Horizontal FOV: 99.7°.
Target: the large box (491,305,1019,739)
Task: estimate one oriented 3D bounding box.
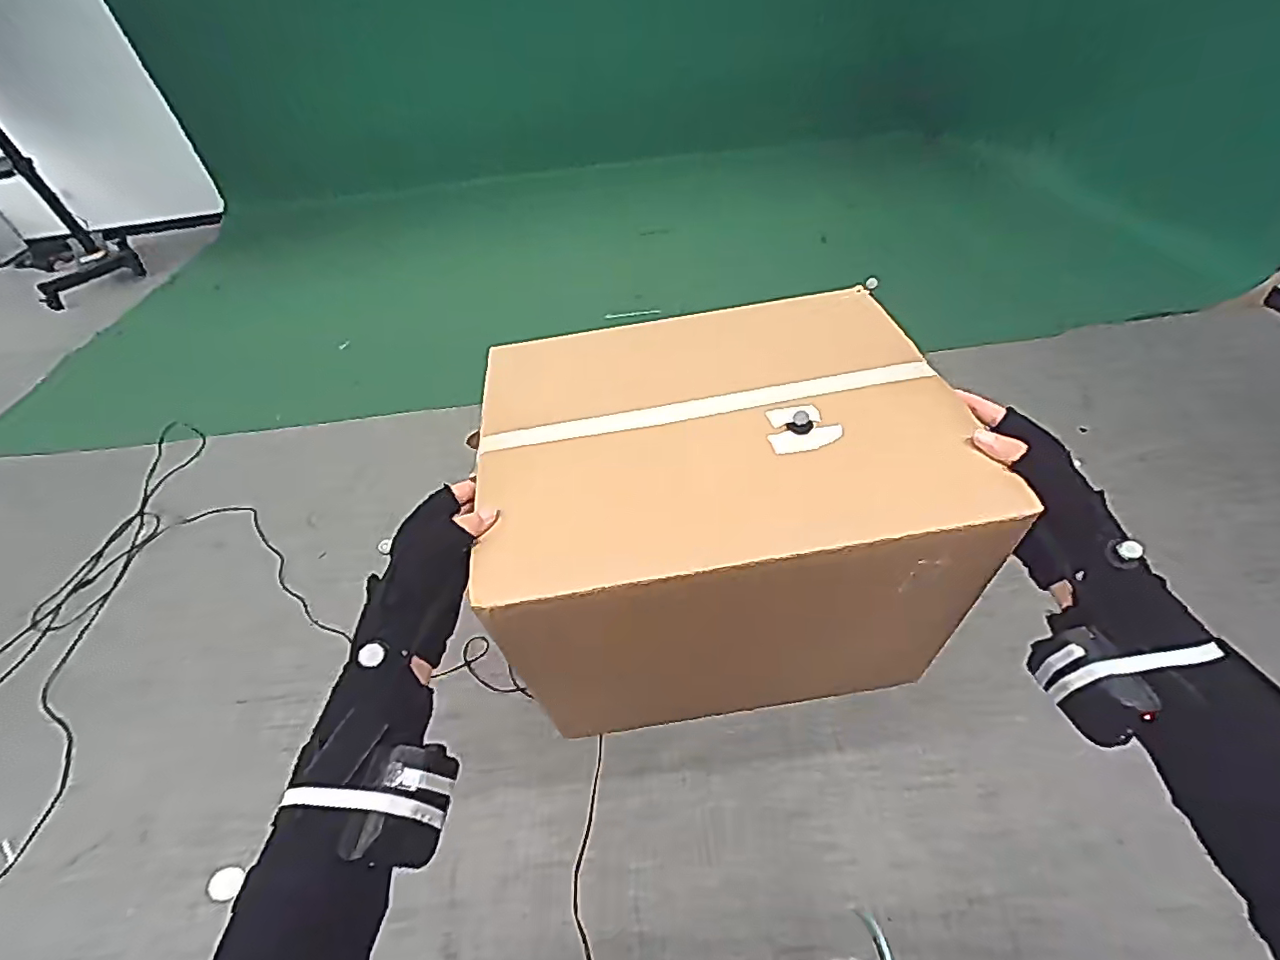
[{"bbox_3d":[0.078,0.049,0.599,0.408,0.320,0.320,-9,49,-1],"label":"large box"}]
